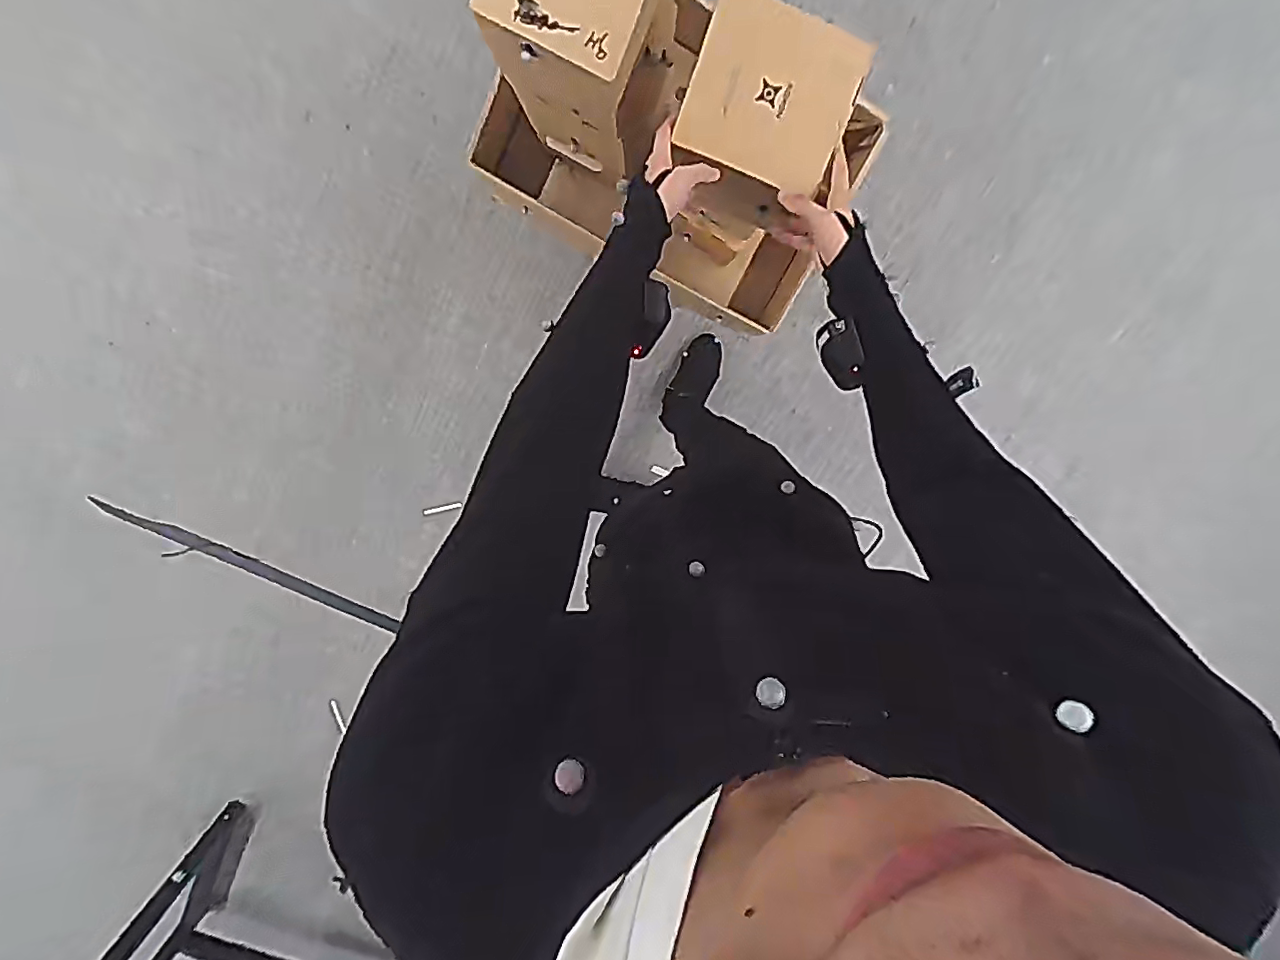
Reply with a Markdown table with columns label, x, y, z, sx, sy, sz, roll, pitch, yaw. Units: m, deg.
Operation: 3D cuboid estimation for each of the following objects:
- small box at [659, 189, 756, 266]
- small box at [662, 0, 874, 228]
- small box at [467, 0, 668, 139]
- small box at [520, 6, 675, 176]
| label | x | y | z | sx | sy | sz | roll | pitch | yaw |
| --- | --- | --- | --- | --- | --- | --- | --- | --- | --- |
| small box | 0.142 | -0.513 | 0.972 | 0.168 | 0.176 | 0.179 | 29 | 104 | -6 |
| small box | 0.136 | -0.426 | 0.653 | 0.179 | 0.176 | 0.168 | 19 | 102 | -6 |
| small box | -0.070 | -0.541 | 0.620 | 0.168 | 0.176 | 0.179 | 24 | 103 | -5 |
| small box | -0.064 | -0.581 | 0.781 | 0.168 | 0.176 | 0.179 | 24 | 104 | -6 |
